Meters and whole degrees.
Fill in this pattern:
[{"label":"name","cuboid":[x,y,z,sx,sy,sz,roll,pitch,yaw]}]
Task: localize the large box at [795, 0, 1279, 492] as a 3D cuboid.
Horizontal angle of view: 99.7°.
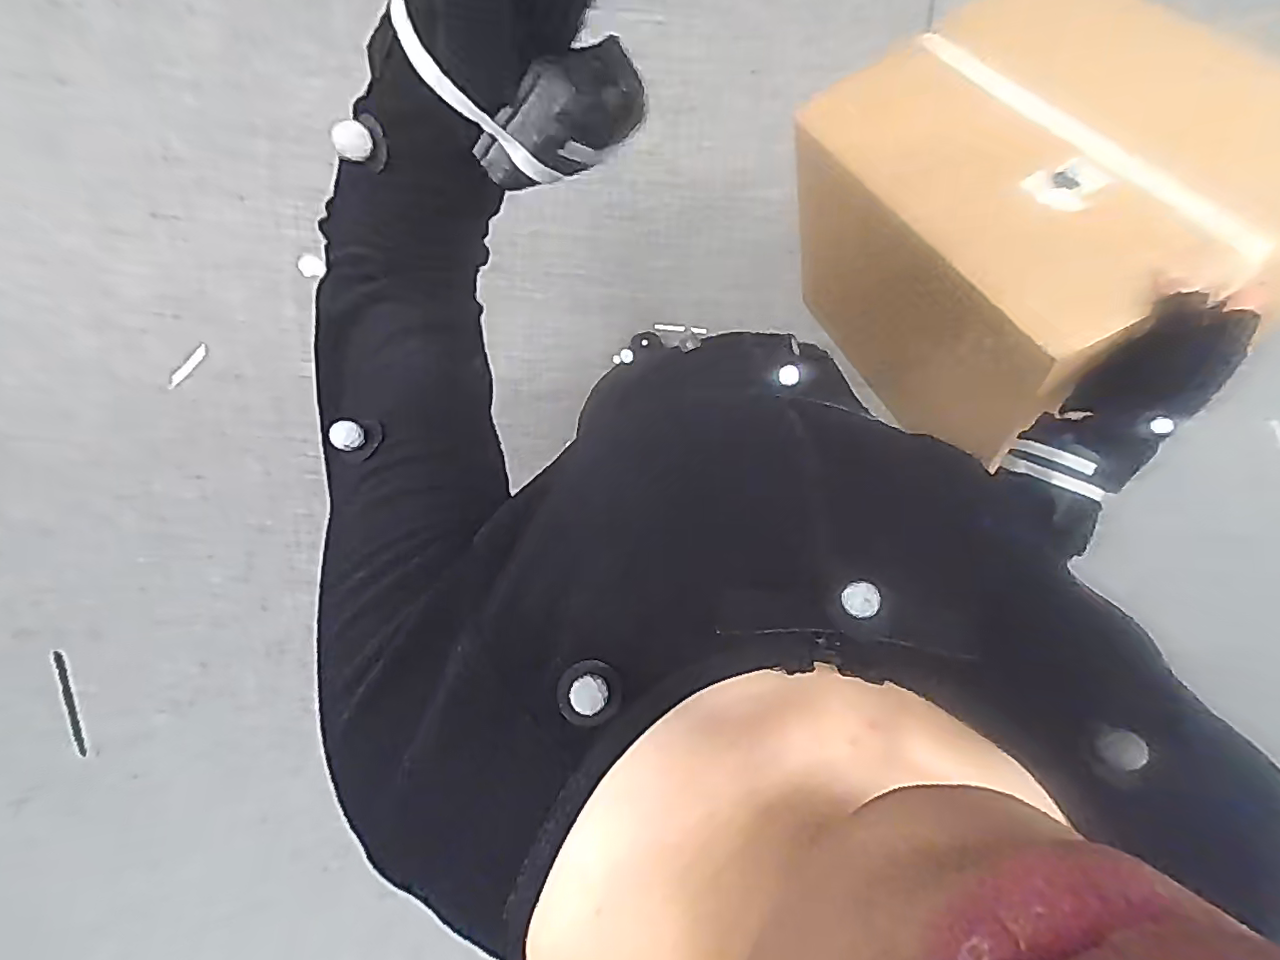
[{"label":"large box","cuboid":[0.421,-0.264,0.636,0.320,0.320,0.408,-28,61,5]}]
